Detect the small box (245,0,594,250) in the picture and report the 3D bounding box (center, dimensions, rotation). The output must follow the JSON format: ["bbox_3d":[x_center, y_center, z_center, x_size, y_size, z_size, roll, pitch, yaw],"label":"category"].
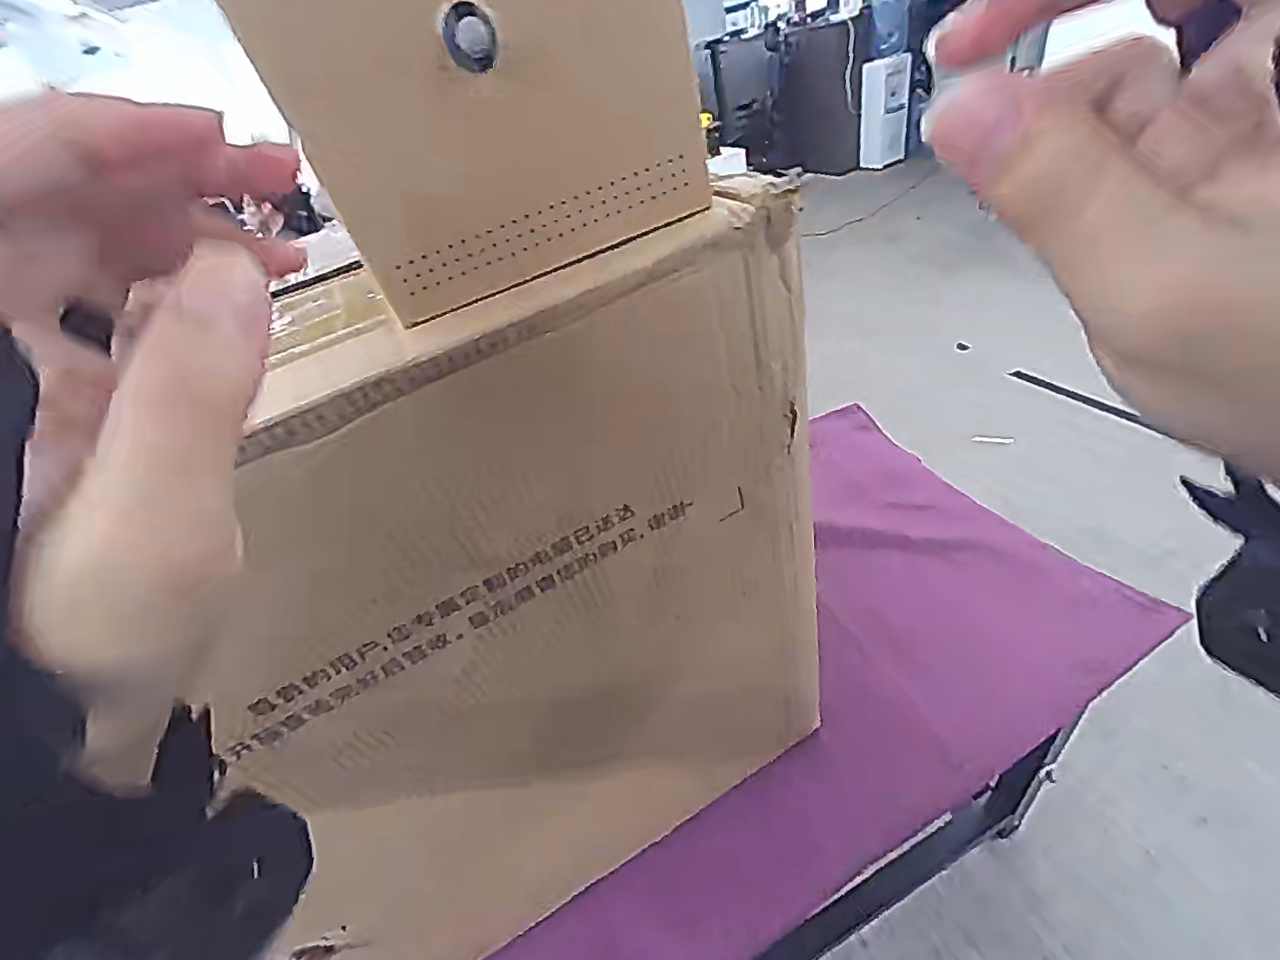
[{"bbox_3d":[-0.159,-0.296,0.415,0.179,0.176,0.168,-27,39,-12],"label":"small box"}]
